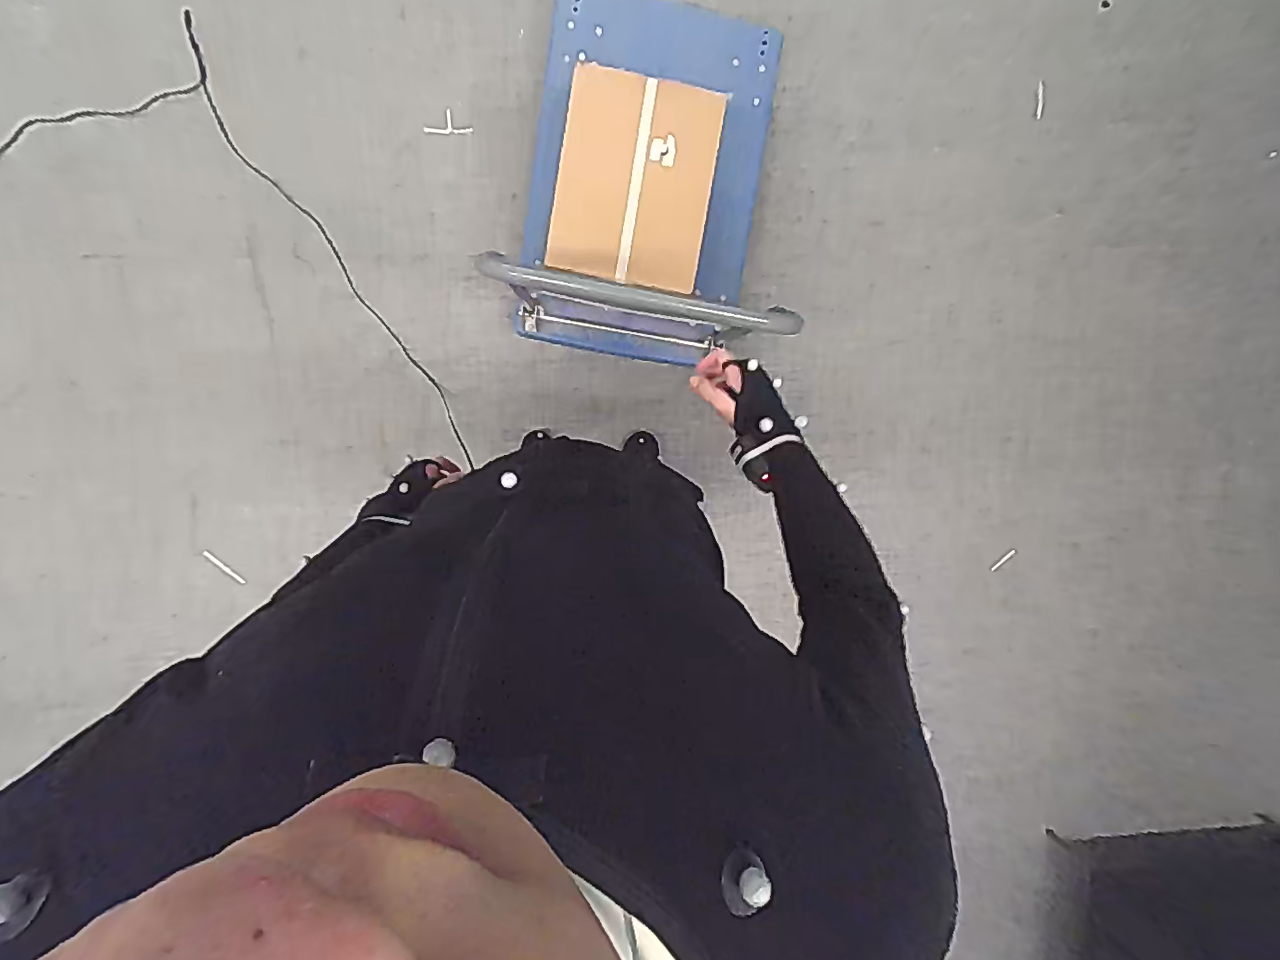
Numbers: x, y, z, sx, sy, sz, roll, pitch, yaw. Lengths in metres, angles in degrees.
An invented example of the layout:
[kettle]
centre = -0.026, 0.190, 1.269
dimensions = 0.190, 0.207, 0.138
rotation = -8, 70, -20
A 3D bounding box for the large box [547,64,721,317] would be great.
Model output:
[large box]
centre = -0.022, -0.631, 1.259
dimensions = 0.320, 0.320, 0.408
rotation = 9, 94, -6
